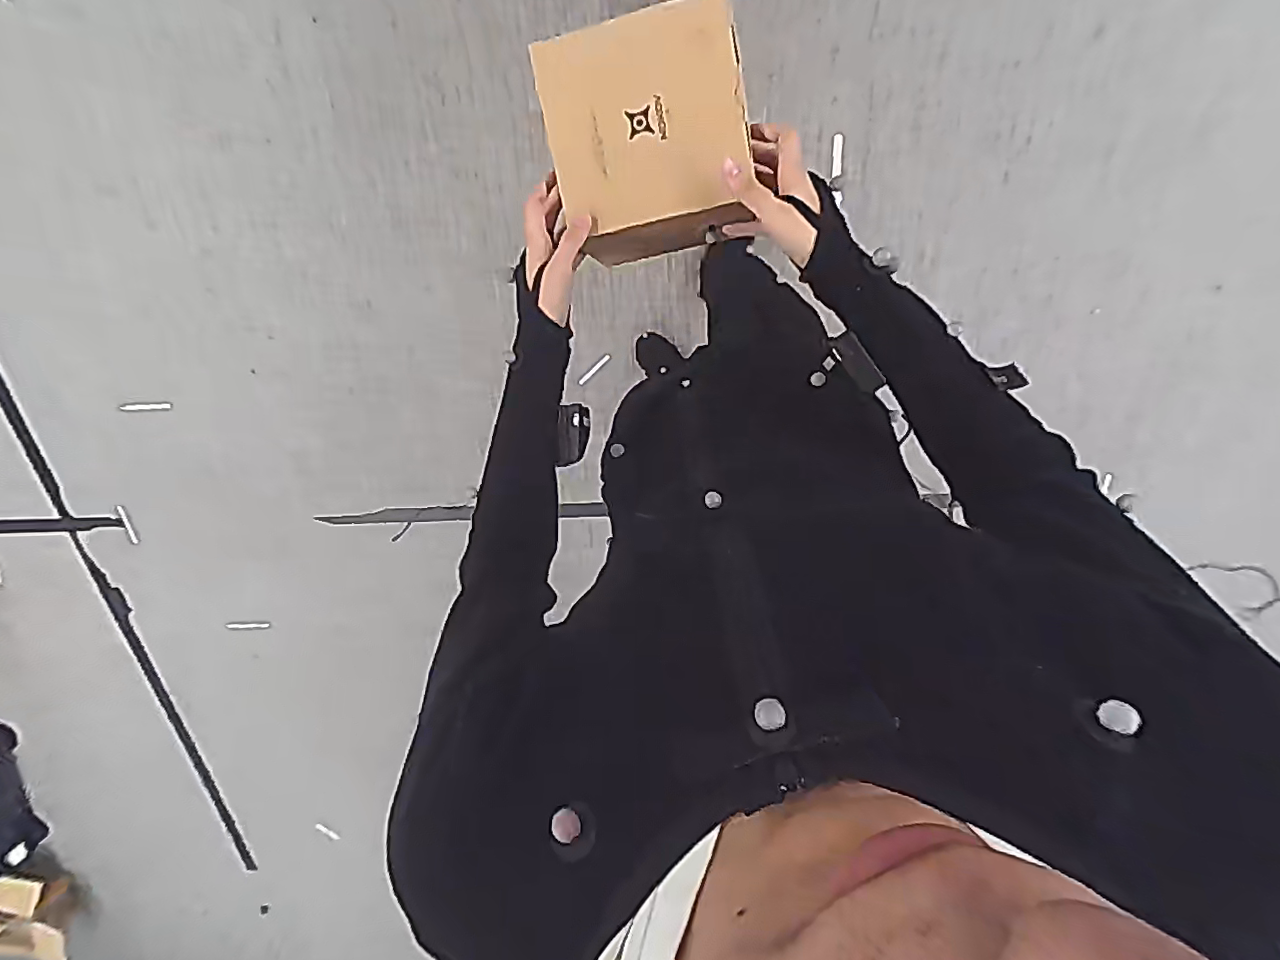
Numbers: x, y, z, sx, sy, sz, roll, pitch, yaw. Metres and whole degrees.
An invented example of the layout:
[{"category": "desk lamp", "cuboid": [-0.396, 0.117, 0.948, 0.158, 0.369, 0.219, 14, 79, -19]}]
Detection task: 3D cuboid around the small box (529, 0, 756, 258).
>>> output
[{"category": "small box", "cuboid": [0.011, -0.337, 0.544, 0.179, 0.176, 0.168, -9, 101, 9]}]
